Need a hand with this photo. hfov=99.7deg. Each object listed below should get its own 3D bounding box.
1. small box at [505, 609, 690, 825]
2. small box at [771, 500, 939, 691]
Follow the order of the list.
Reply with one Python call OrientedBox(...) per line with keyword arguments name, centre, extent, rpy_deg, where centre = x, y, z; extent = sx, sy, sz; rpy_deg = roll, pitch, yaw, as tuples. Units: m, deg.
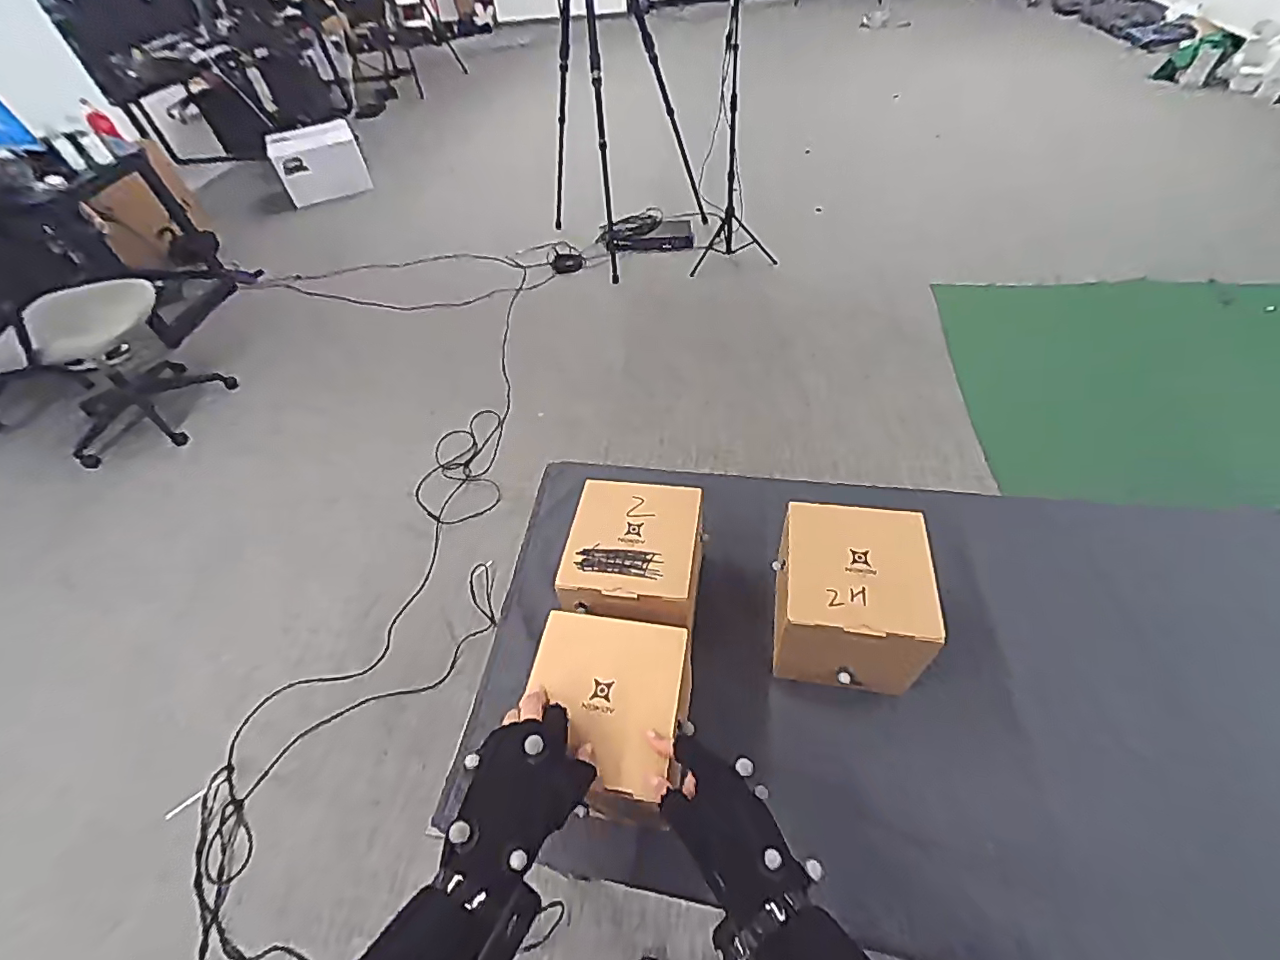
OrientedBox(name="small box", centre=(-0.035, 0.277, 0.634), extent=(0.168, 0.176, 0.179), rpy_deg=(5, 51, 10))
OrientedBox(name="small box", centre=(0.265, 0.151, 0.708), extent=(0.168, 0.176, 0.179), rpy_deg=(5, 51, 11))
